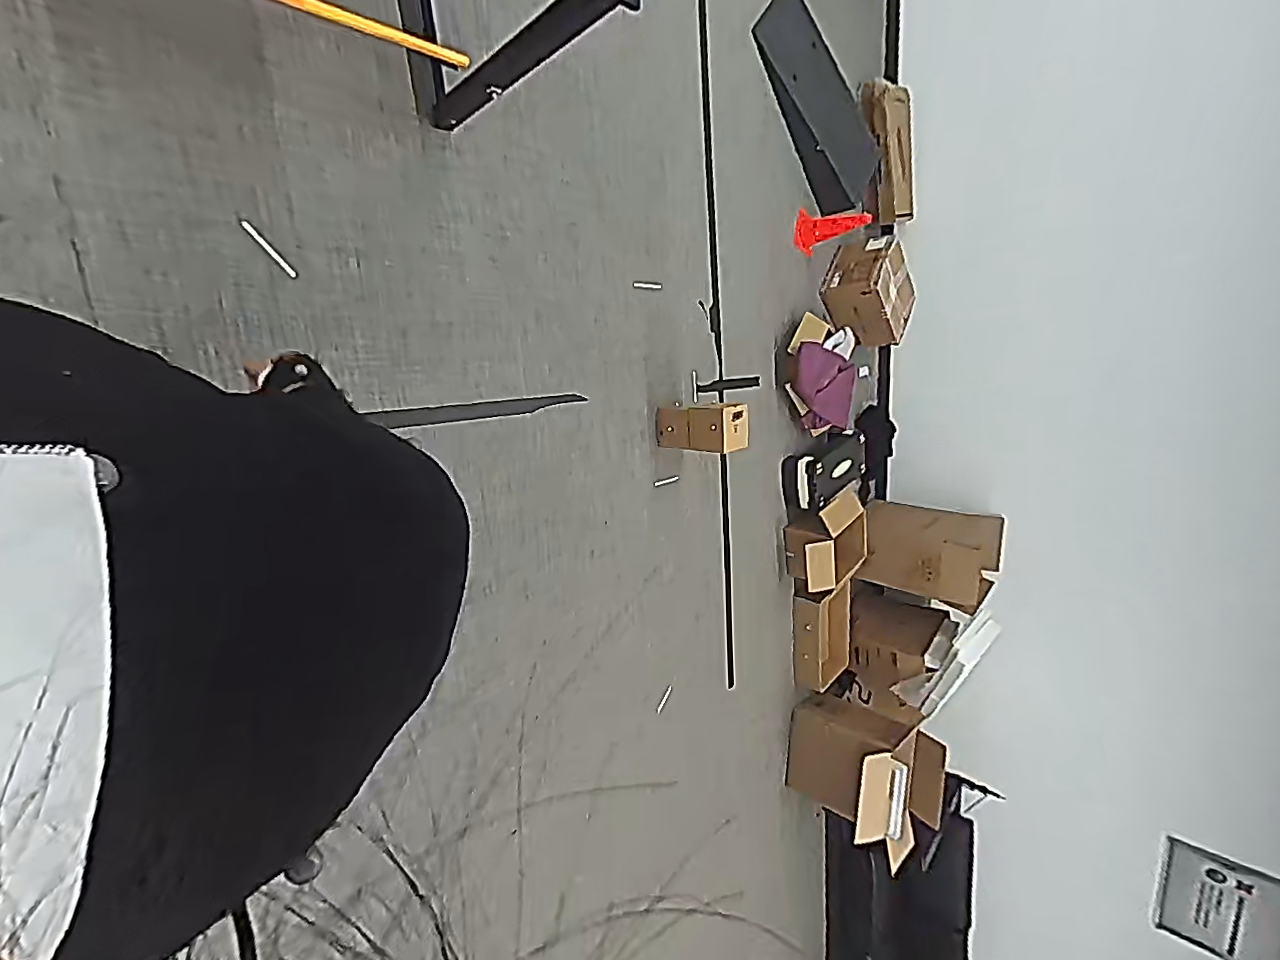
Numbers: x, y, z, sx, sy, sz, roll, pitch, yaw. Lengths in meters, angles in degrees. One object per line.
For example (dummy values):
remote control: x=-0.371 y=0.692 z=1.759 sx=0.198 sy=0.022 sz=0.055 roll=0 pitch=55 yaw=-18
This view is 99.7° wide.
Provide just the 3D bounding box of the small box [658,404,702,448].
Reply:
small box: x=0.188 y=-0.228 z=2.256 sx=0.179 sy=0.176 sz=0.168 roll=-14 pitch=106 yaw=-43

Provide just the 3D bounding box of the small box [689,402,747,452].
small box: x=0.307 y=-0.215 z=2.141 sx=0.168 sy=0.176 sz=0.179 roll=-17 pitch=109 yaw=-44
